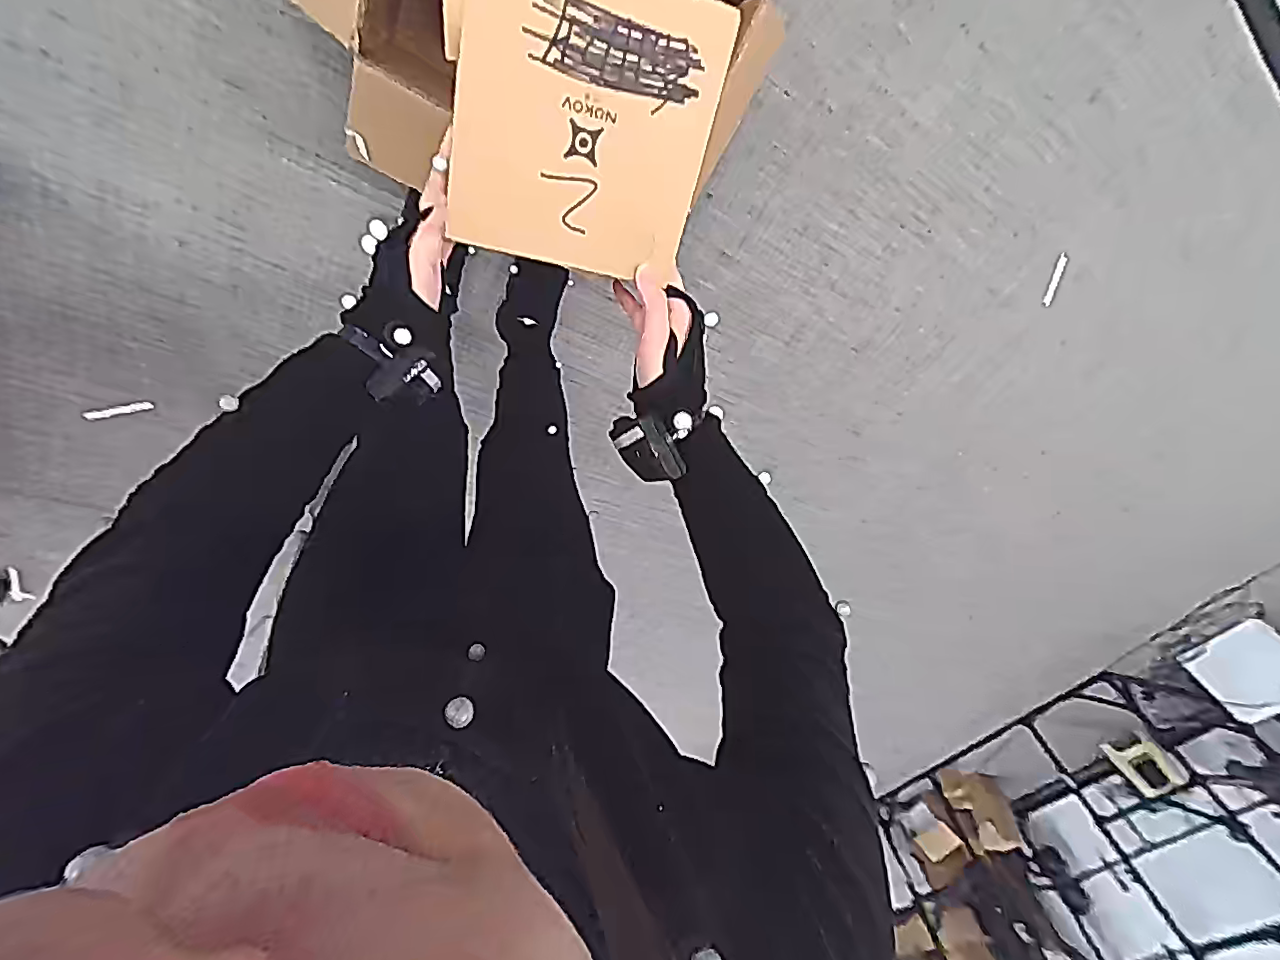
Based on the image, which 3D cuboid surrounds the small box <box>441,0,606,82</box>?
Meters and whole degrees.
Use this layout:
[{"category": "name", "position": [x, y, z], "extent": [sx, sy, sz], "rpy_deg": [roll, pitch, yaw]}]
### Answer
[{"category": "small box", "position": [-0.138, -0.587, 0.625], "extent": [0.179, 0.176, 0.168], "rpy_deg": [-2, 134, -17]}]
